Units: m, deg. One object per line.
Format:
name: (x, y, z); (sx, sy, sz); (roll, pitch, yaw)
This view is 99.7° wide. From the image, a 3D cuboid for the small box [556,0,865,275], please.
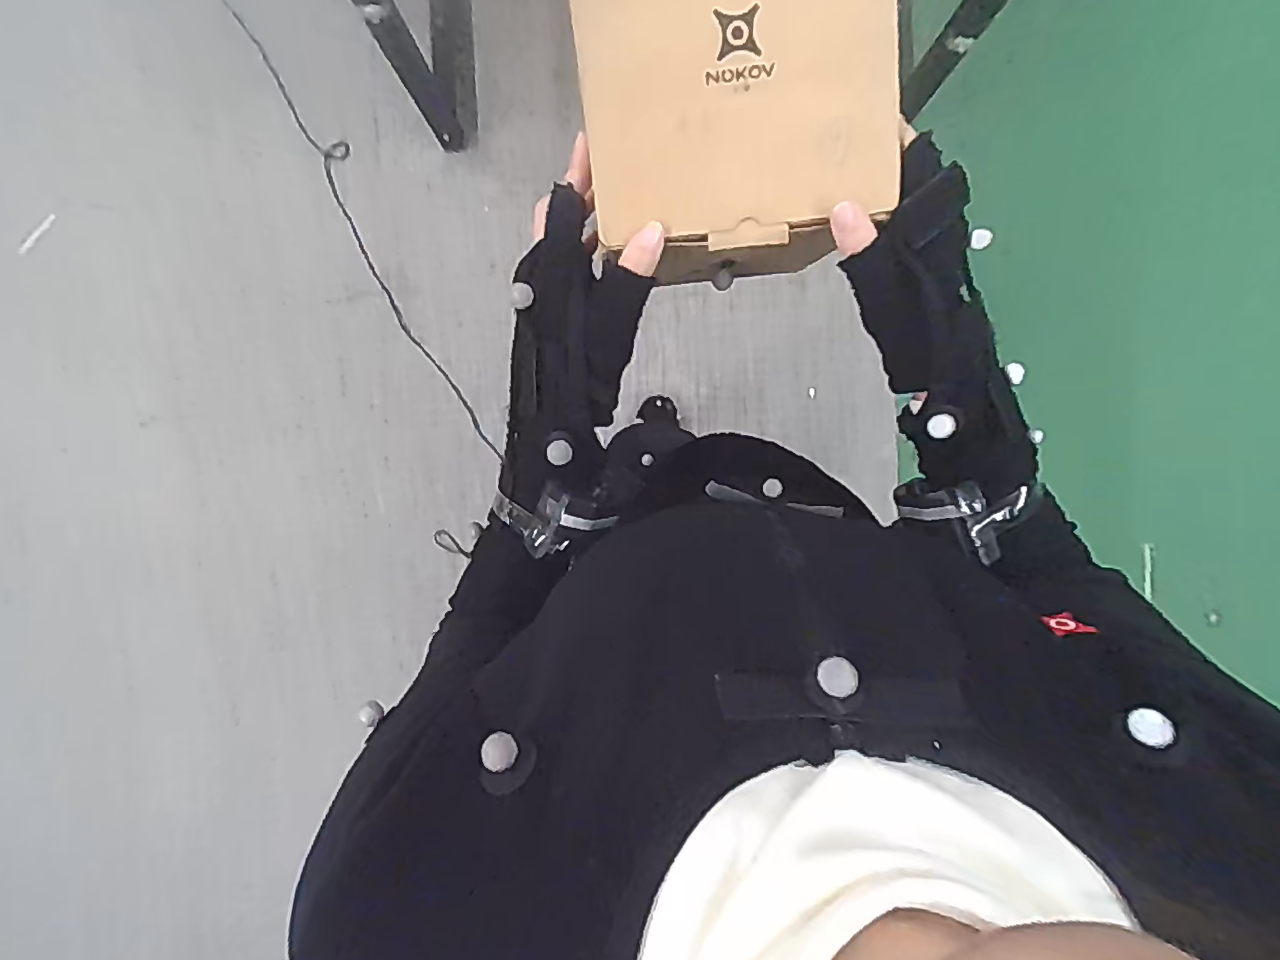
small box: (0.042, -0.250, 0.380); (0.168, 0.176, 0.179); (-8, 102, 2)
